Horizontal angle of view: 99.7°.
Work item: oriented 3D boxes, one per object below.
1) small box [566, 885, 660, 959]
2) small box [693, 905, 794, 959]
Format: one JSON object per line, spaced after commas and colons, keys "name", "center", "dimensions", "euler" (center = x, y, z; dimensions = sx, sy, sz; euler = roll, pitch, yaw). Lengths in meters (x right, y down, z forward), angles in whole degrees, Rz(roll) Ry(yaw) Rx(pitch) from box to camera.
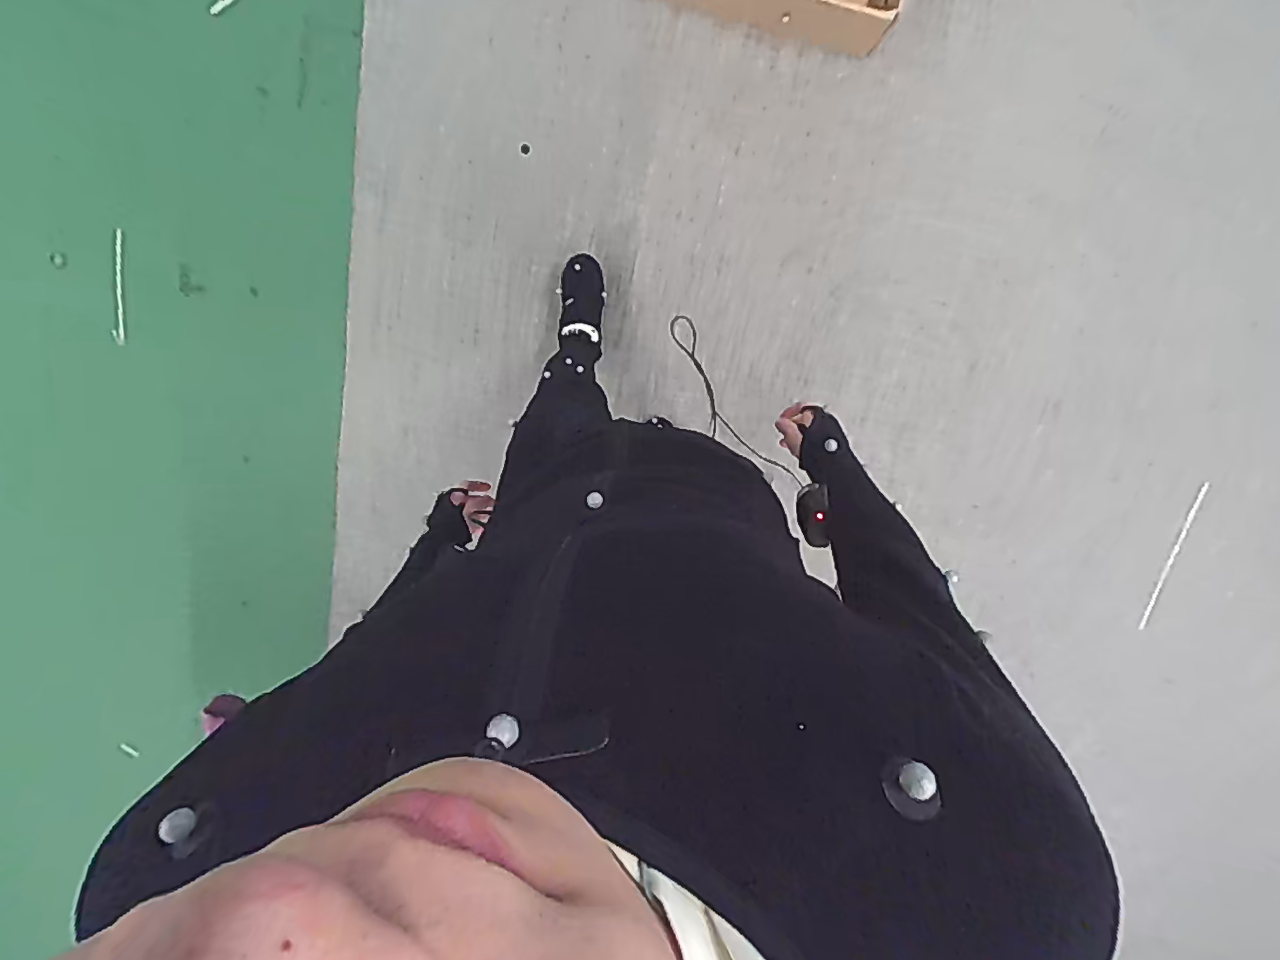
{"name": "small box", "center": [-0.056, 0.906, 1.002], "dimensions": [0.168, 0.176, 0.179], "euler": [9, 104, -1]}
{"name": "small box", "center": [0.193, 0.944, 1.002], "dimensions": [0.168, 0.176, 0.179], "euler": [9, 105, -1]}
